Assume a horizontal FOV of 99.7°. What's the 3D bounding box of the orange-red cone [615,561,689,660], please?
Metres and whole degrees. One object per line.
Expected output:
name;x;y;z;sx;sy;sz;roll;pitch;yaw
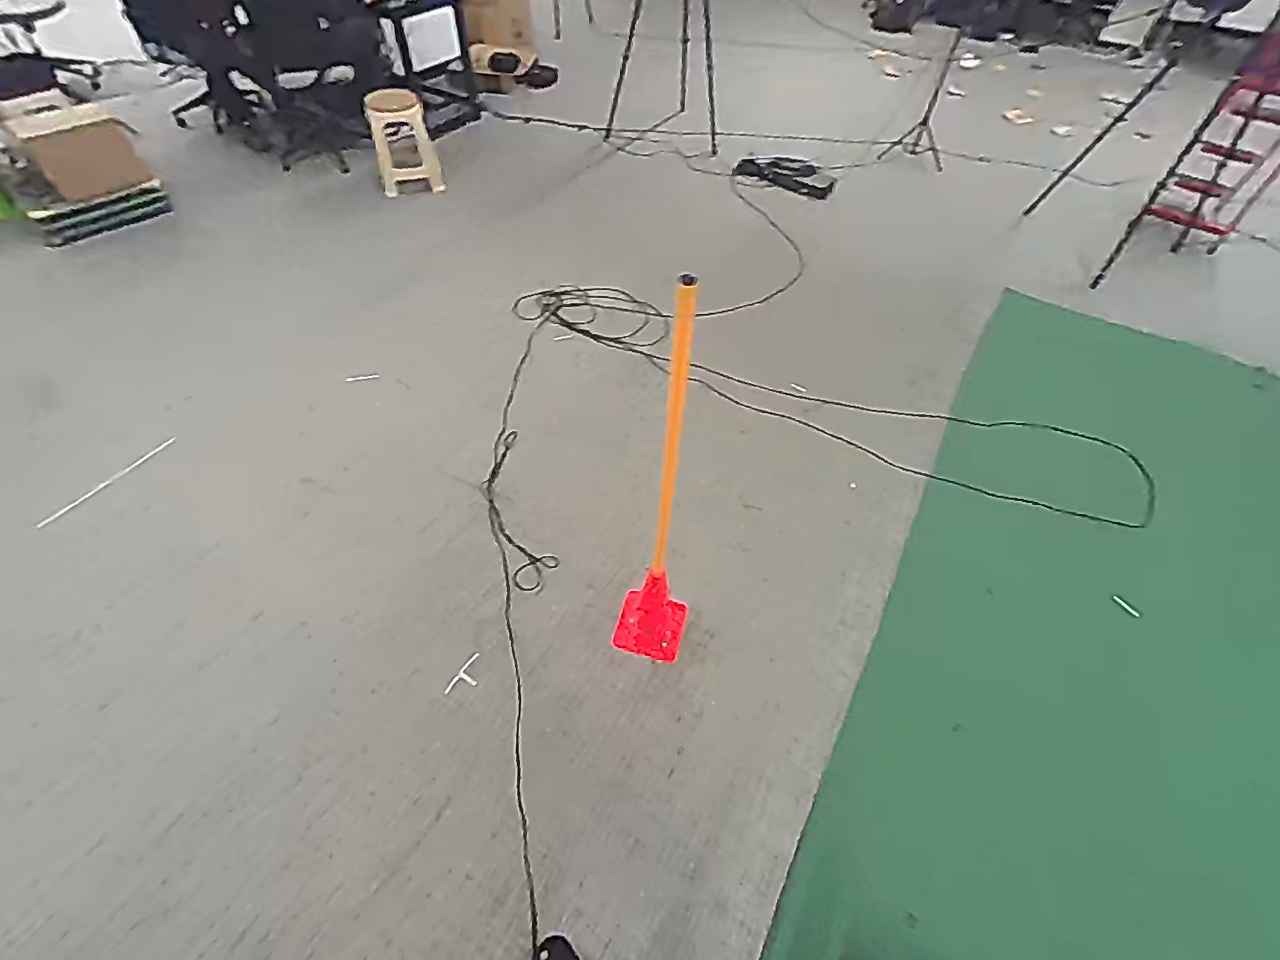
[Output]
orange-red cone;0.046;0.332;1.527;0.198;0.360;0.199;15;52;8
